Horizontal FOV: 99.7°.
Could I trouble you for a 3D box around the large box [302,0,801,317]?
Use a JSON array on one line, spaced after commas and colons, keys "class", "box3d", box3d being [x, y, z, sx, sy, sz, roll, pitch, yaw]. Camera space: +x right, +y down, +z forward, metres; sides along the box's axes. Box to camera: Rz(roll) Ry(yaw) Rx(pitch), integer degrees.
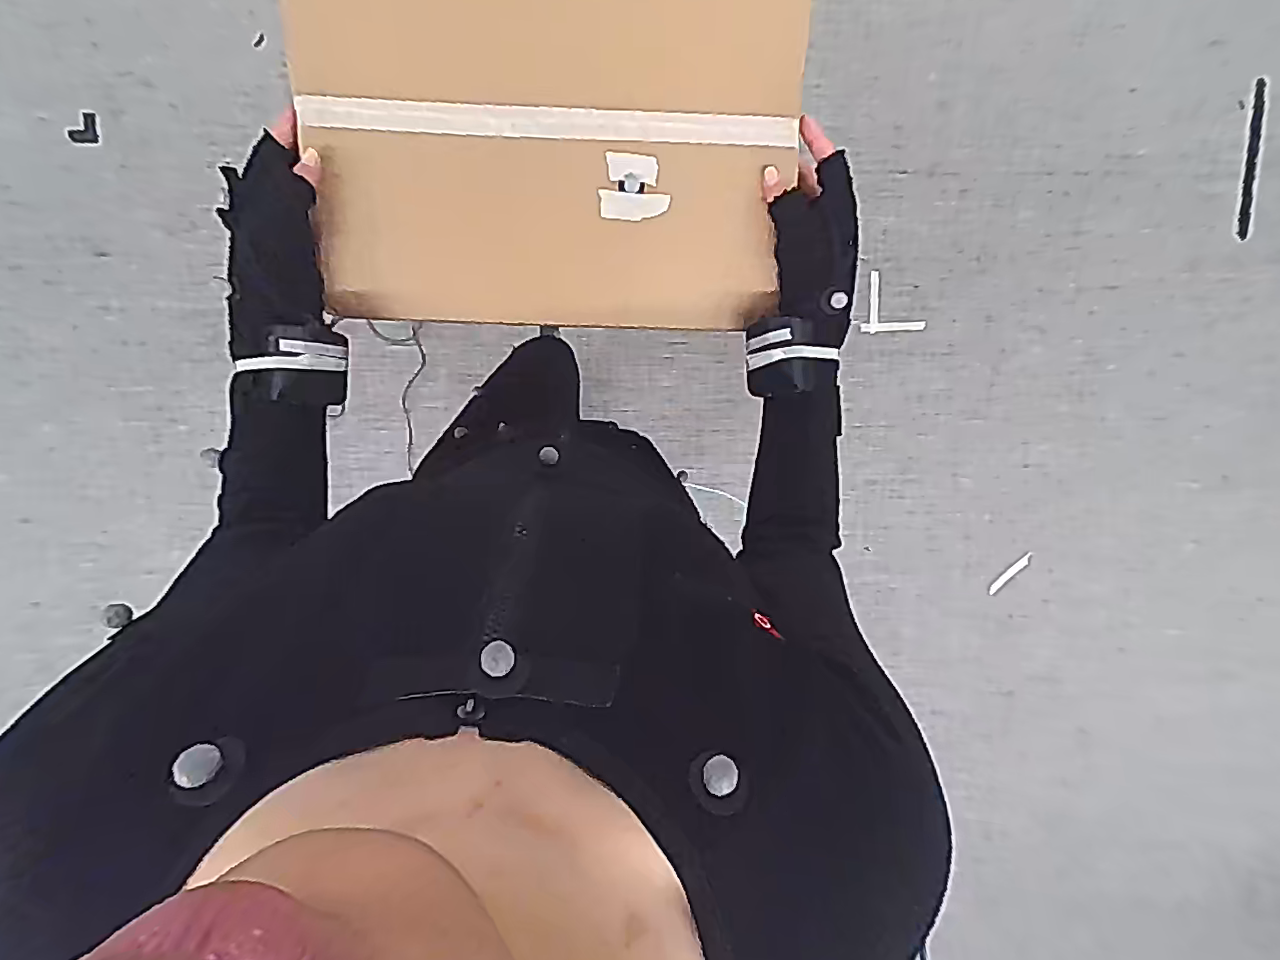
[{"class": "large box", "box3d": [-0.077, -0.345, 0.597, 0.408, 0.320, 0.320, 1, 107, -3]}]
